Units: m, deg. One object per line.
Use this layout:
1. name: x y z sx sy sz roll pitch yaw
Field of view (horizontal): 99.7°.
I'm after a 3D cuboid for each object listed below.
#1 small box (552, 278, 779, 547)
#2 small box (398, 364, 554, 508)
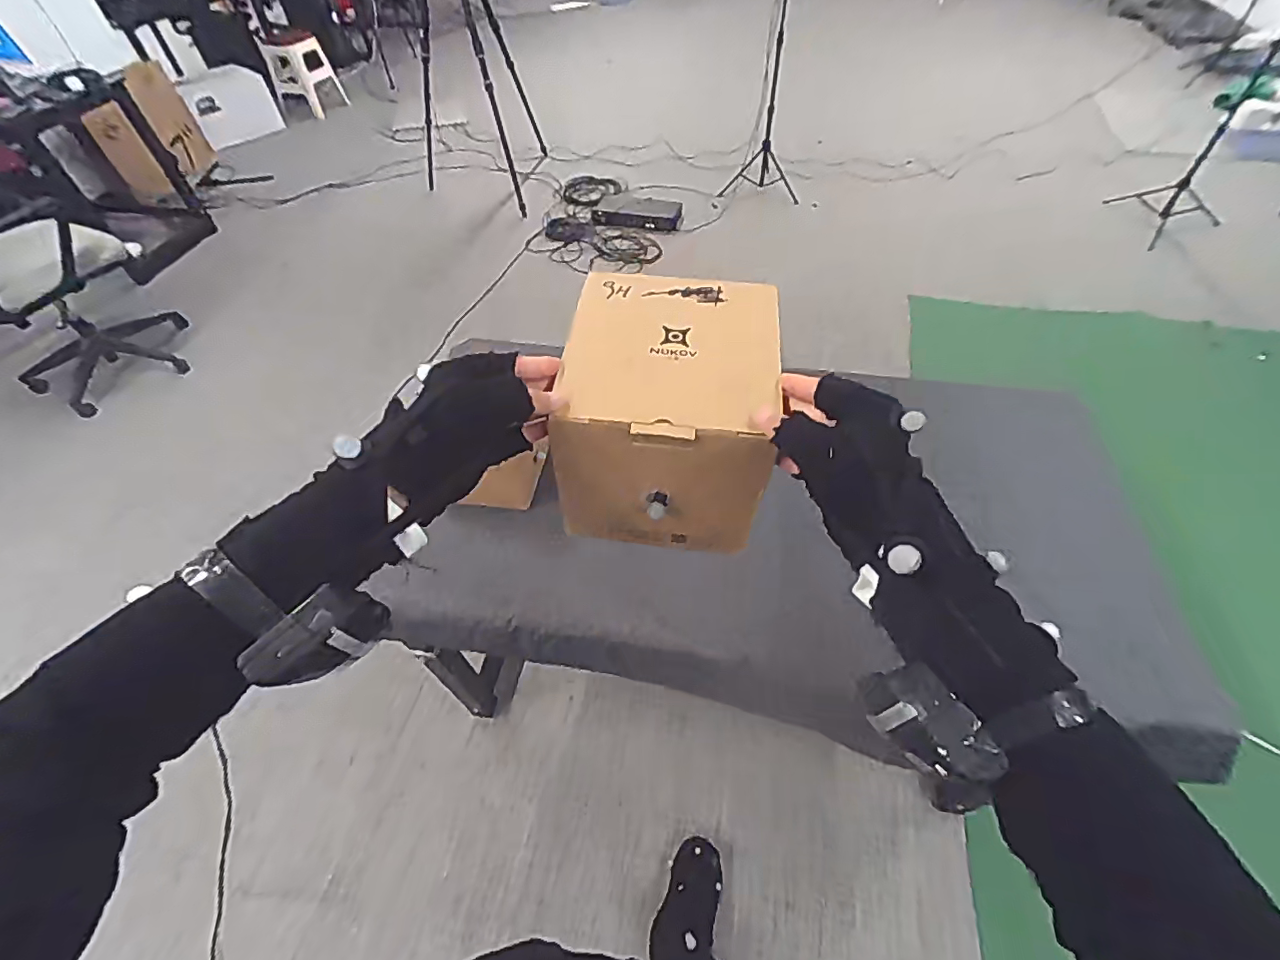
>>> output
1. small box: 0.028 -0.055 0.492 0.168 0.176 0.179 6 55 4
2. small box: -0.254 -0.069 0.886 0.179 0.176 0.168 6 52 6
